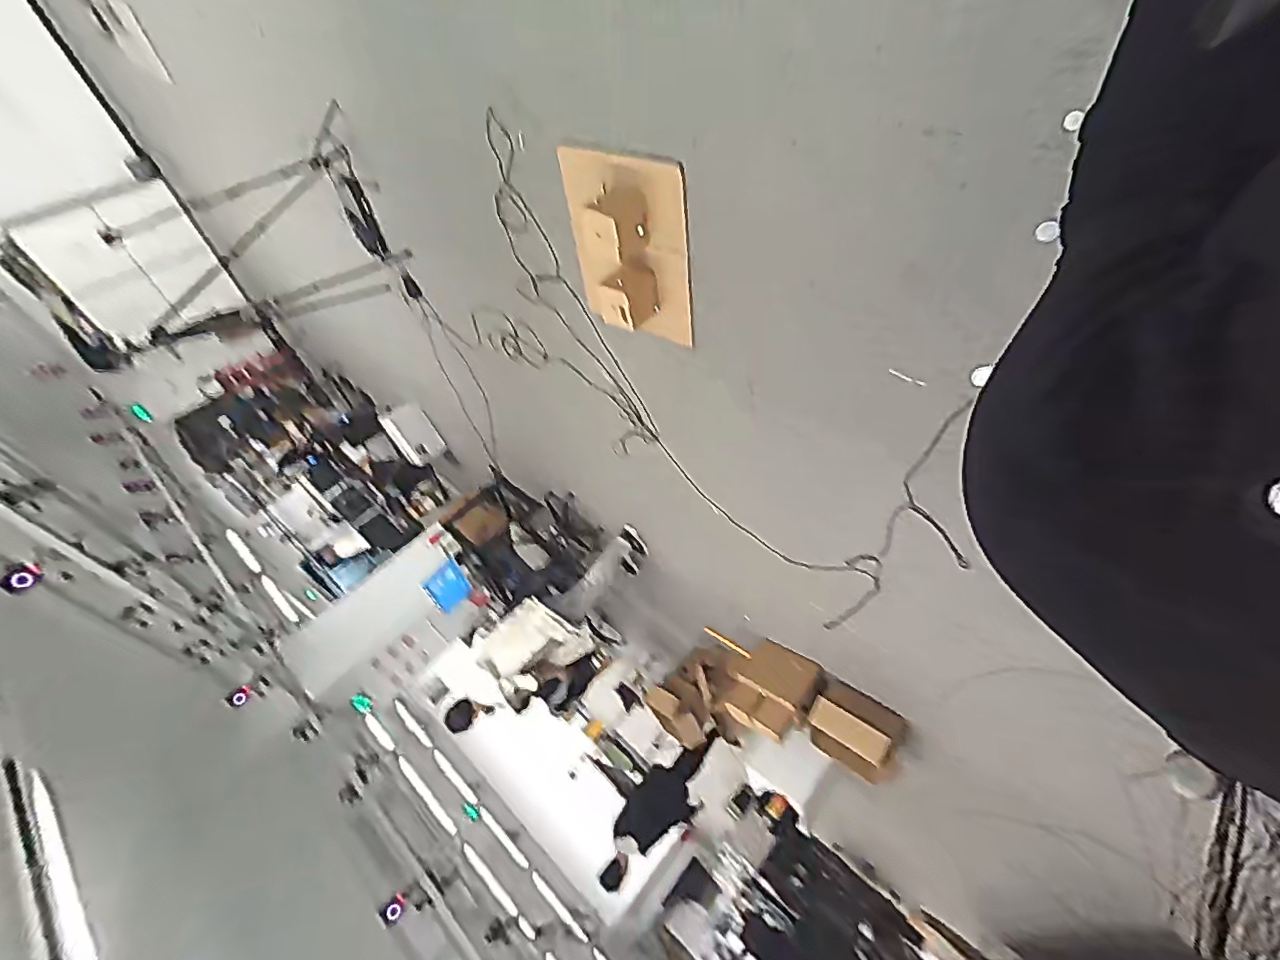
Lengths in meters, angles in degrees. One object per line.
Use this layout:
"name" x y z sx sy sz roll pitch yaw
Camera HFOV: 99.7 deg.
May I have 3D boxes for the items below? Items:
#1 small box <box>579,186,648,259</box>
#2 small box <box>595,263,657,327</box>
"small box" -0.091 -0.934 1.950 0.179 0.176 0.168 32 151 26
"small box" -0.048 -0.741 2.148 0.179 0.176 0.168 30 149 32
